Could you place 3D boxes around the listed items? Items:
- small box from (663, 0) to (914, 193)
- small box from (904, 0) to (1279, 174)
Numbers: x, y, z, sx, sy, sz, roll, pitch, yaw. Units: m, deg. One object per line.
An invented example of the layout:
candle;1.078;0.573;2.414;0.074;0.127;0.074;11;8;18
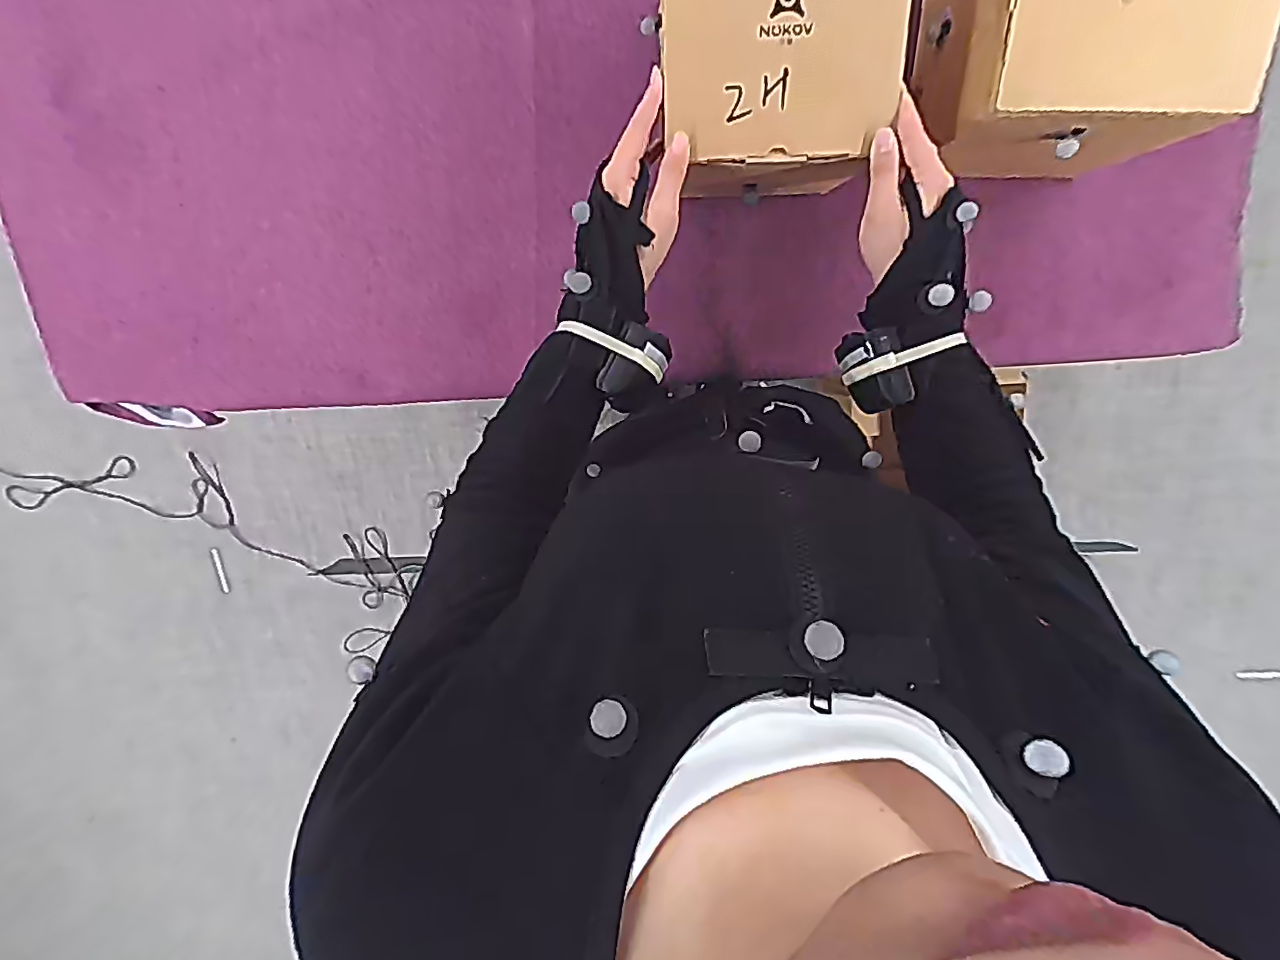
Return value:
small box;0.103;-0.344;0.436;0.168;0.176;0.179;0;110;3
small box;0.343;-0.358;0.431;0.179;0.176;0.168;3;106;3
